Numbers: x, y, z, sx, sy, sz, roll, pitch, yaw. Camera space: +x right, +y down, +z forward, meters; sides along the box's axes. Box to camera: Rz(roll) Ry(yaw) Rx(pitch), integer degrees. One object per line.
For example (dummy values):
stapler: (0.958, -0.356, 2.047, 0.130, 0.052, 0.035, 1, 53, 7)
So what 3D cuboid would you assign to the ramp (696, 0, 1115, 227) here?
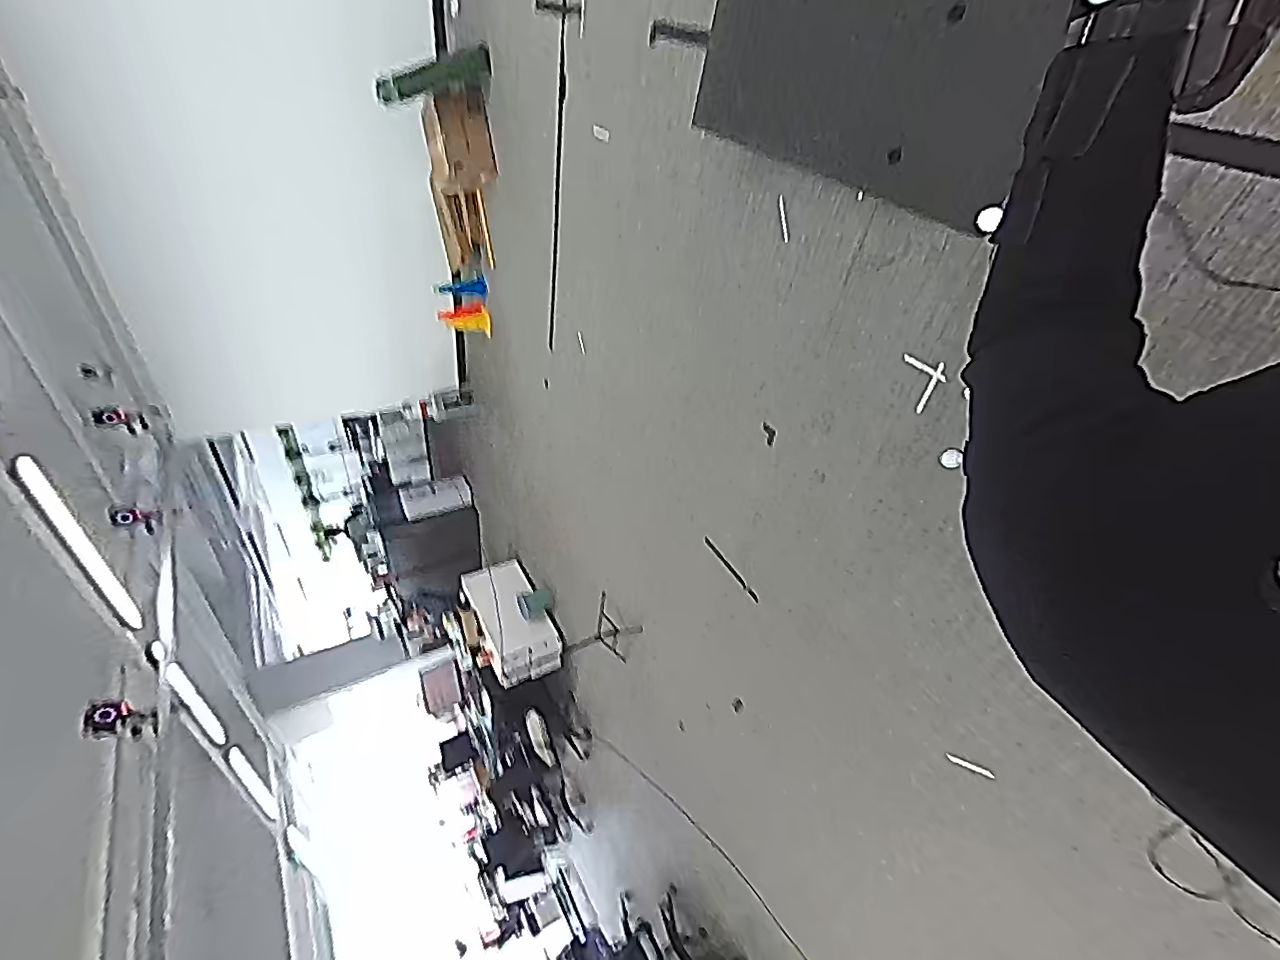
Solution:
ramp: (0.557, -1.079, 1.395, 0.991, 0.206, 0.509, 49, 142, 36)
